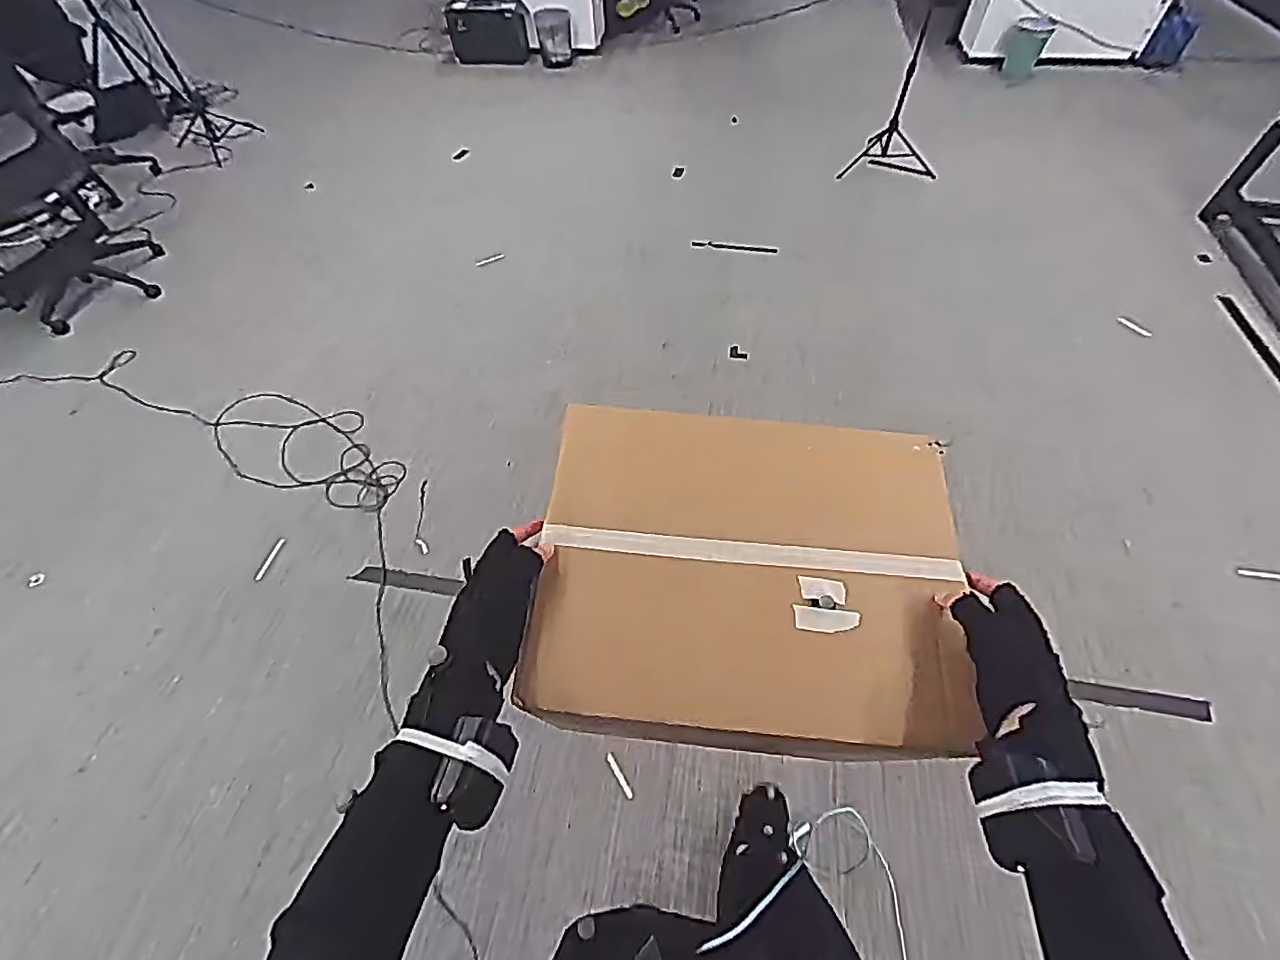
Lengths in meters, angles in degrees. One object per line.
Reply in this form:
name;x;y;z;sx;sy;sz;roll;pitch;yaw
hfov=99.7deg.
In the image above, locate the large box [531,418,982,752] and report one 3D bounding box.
large box;0.107;0.147;0.670;0.408;0.320;0.320;5;62;2
